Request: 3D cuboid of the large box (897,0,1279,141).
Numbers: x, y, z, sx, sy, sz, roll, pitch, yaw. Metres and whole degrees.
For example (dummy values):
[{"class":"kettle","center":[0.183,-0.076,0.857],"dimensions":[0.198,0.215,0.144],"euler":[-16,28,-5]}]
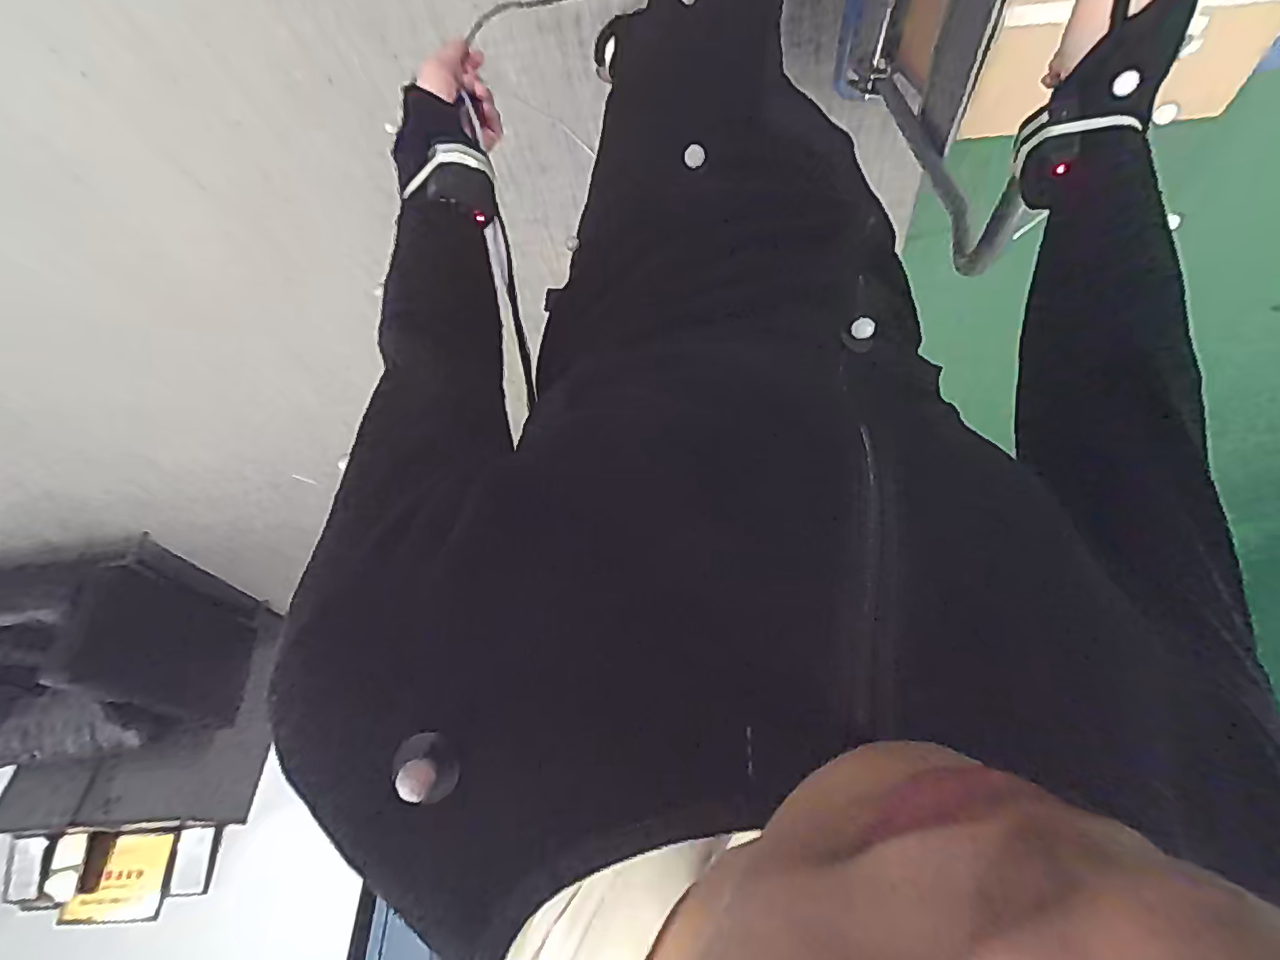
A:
[{"class":"large box","center":[0.675,-0.763,0.816],"dimensions":[0.408,0.320,0.320],"euler":[-4,144,2]}]
